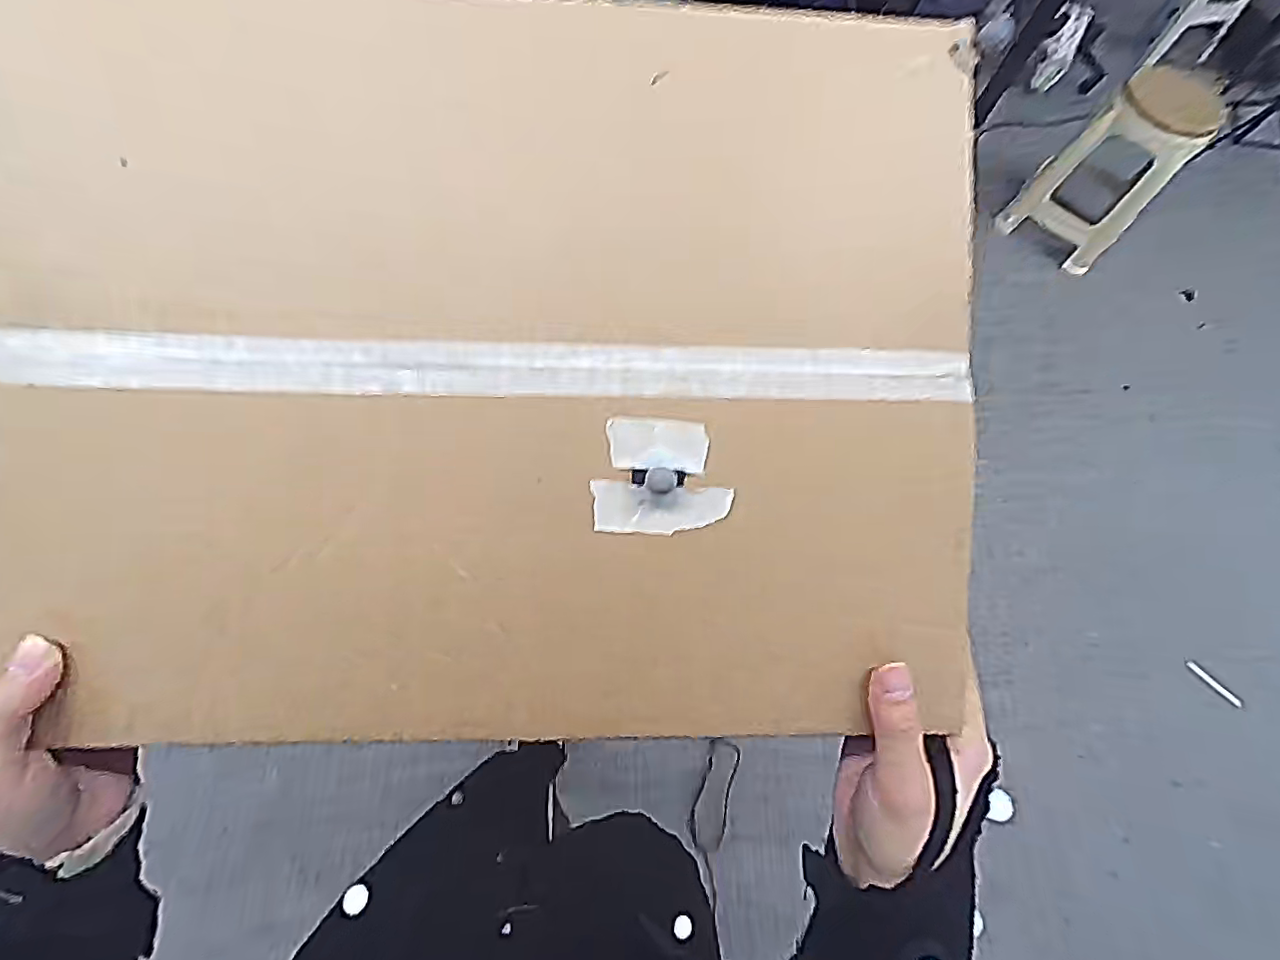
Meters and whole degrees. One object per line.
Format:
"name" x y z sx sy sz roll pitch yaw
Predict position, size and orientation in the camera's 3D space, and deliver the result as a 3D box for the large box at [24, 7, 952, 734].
"large box" -0.066 -0.046 0.388 0.408 0.320 0.320 1 91 -4
